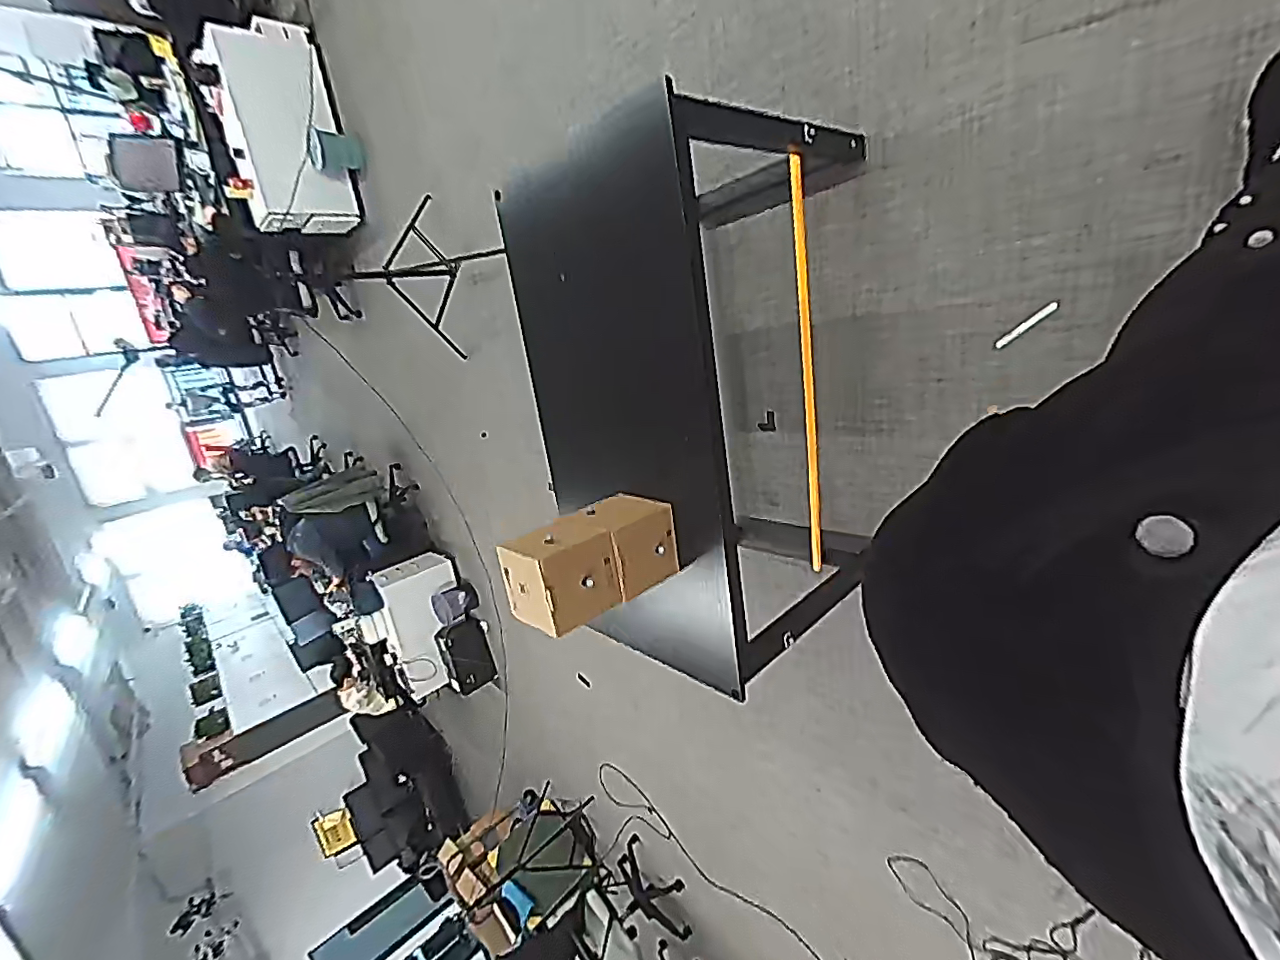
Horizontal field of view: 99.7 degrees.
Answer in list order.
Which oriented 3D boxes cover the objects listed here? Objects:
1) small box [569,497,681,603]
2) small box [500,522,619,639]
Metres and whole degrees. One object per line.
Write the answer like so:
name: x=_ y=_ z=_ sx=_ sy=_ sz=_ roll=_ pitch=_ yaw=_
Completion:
small box: x=-0.032 y=0.146 z=1.208 sx=0.179 sy=0.176 sz=0.168 roll=10 pitch=115 yaw=47
small box: x=-0.158 y=0.195 z=1.114 sx=0.179 sy=0.176 sz=0.168 roll=6 pitch=112 yaw=48
